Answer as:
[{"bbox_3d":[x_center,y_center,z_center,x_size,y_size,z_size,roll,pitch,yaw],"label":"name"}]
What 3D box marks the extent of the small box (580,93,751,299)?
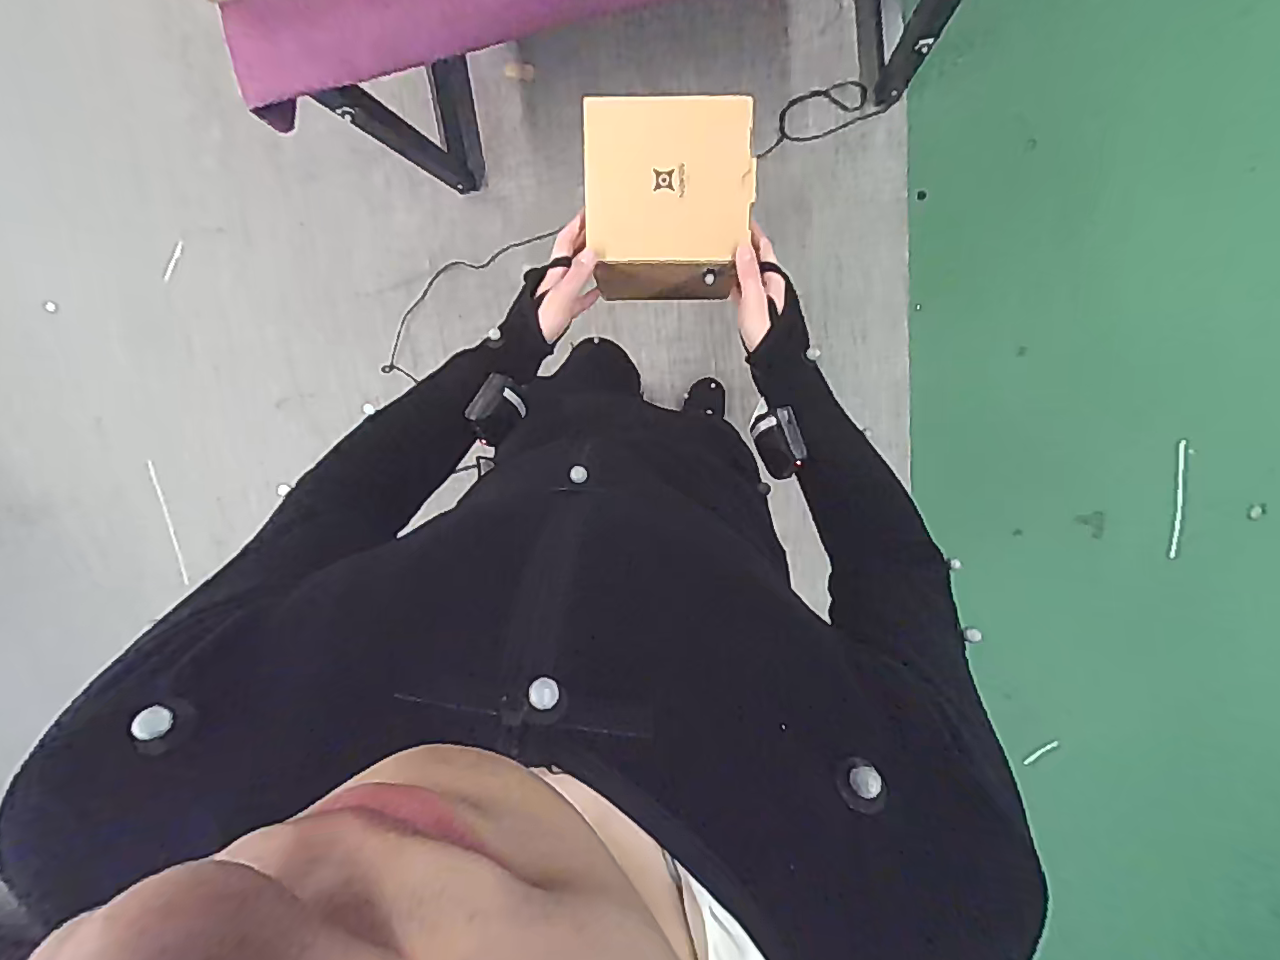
[{"bbox_3d":[0.027,-0.315,0.634,0.179,0.176,0.168,-1,95,0],"label":"small box"}]
